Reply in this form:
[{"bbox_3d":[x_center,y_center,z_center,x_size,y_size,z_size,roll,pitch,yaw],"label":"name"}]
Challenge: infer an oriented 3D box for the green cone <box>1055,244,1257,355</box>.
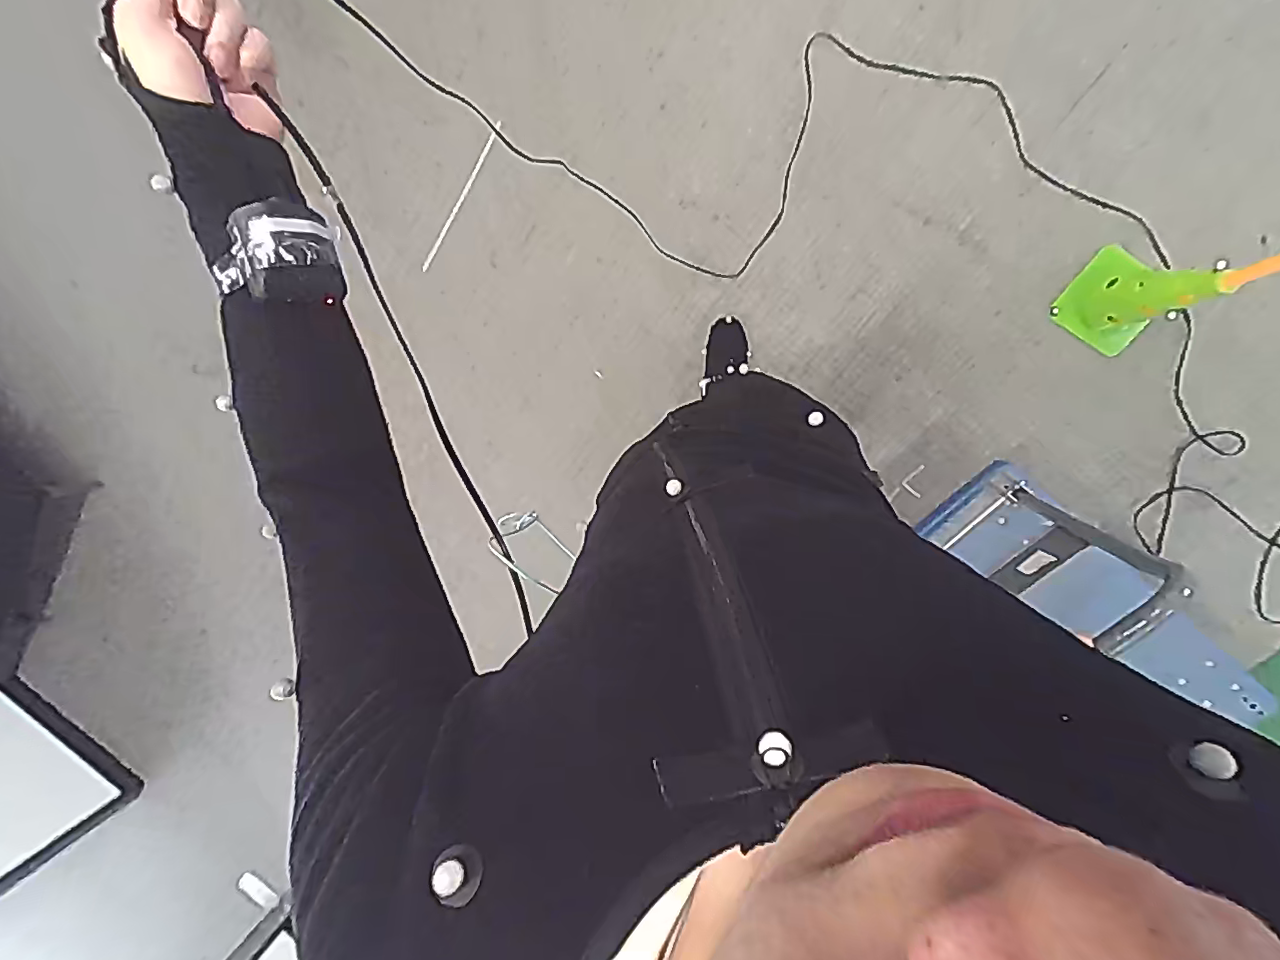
[{"bbox_3d":[1.101,-0.393,1.123,0.200,0.368,0.202,35,107,3],"label":"green cone"}]
